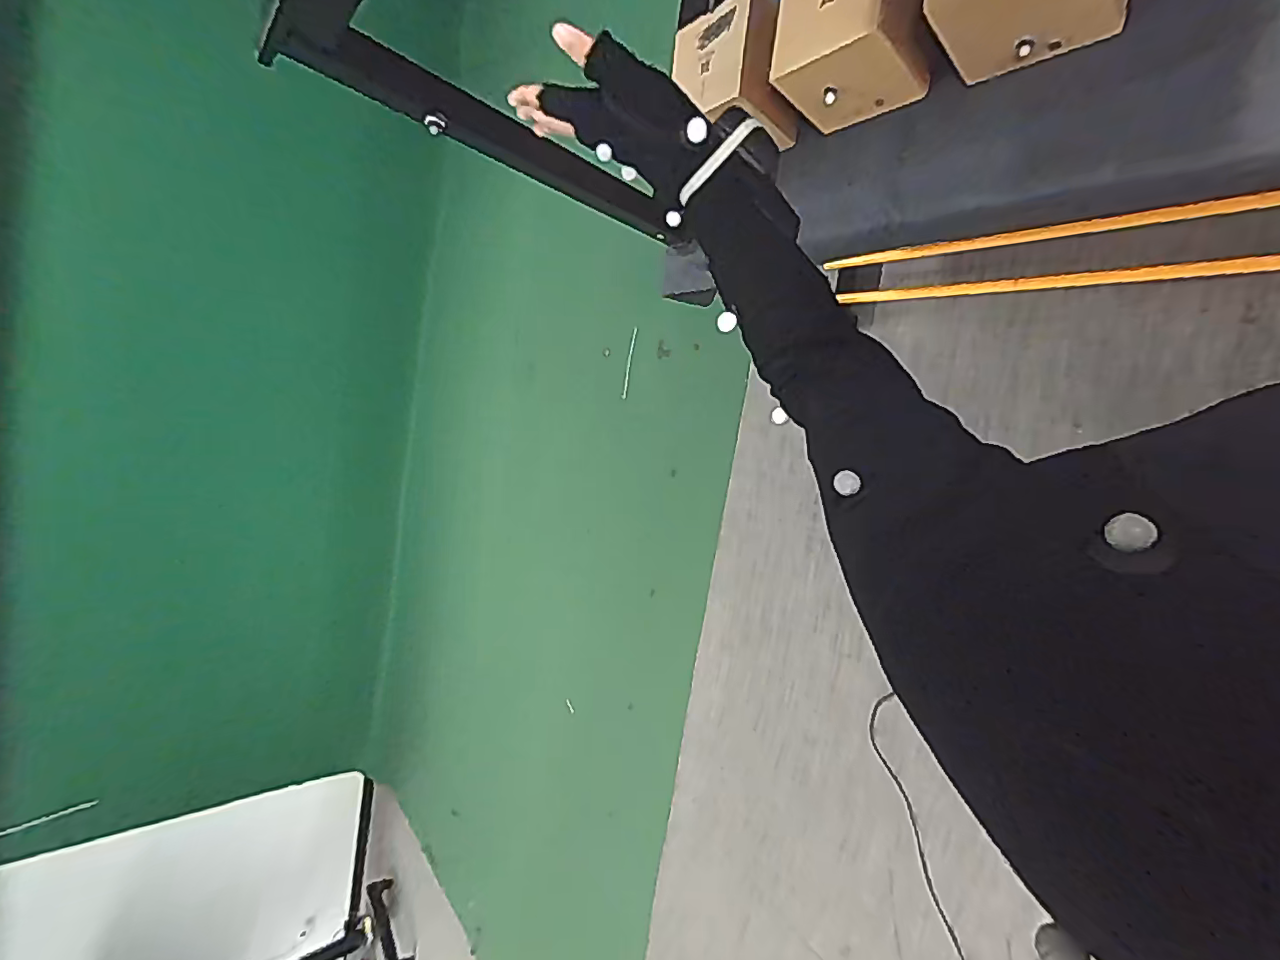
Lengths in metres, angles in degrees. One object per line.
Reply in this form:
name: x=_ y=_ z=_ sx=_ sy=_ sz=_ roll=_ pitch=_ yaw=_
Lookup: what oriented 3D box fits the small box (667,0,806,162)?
small box: x=0.172 y=-0.702 z=0.948 sx=0.168 sy=0.176 sz=0.179 roll=10 pitch=95 yaw=48
